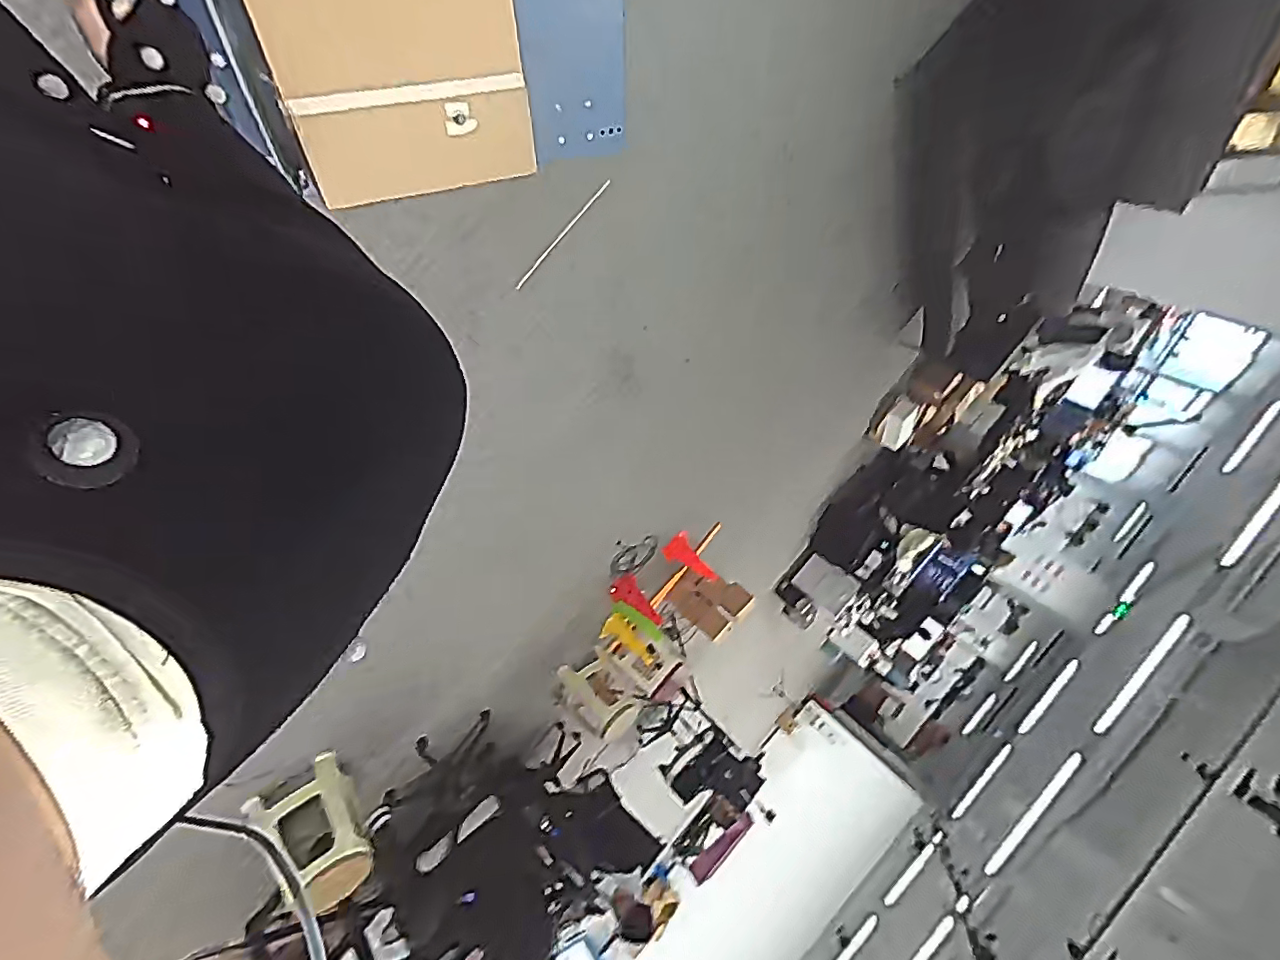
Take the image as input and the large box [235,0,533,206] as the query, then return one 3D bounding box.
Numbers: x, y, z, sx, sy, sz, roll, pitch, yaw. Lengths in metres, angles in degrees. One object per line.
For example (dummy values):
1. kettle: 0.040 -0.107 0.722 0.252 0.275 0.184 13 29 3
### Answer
1. large box: -0.469 -0.758 1.022 0.408 0.320 0.320 -24 138 -21
